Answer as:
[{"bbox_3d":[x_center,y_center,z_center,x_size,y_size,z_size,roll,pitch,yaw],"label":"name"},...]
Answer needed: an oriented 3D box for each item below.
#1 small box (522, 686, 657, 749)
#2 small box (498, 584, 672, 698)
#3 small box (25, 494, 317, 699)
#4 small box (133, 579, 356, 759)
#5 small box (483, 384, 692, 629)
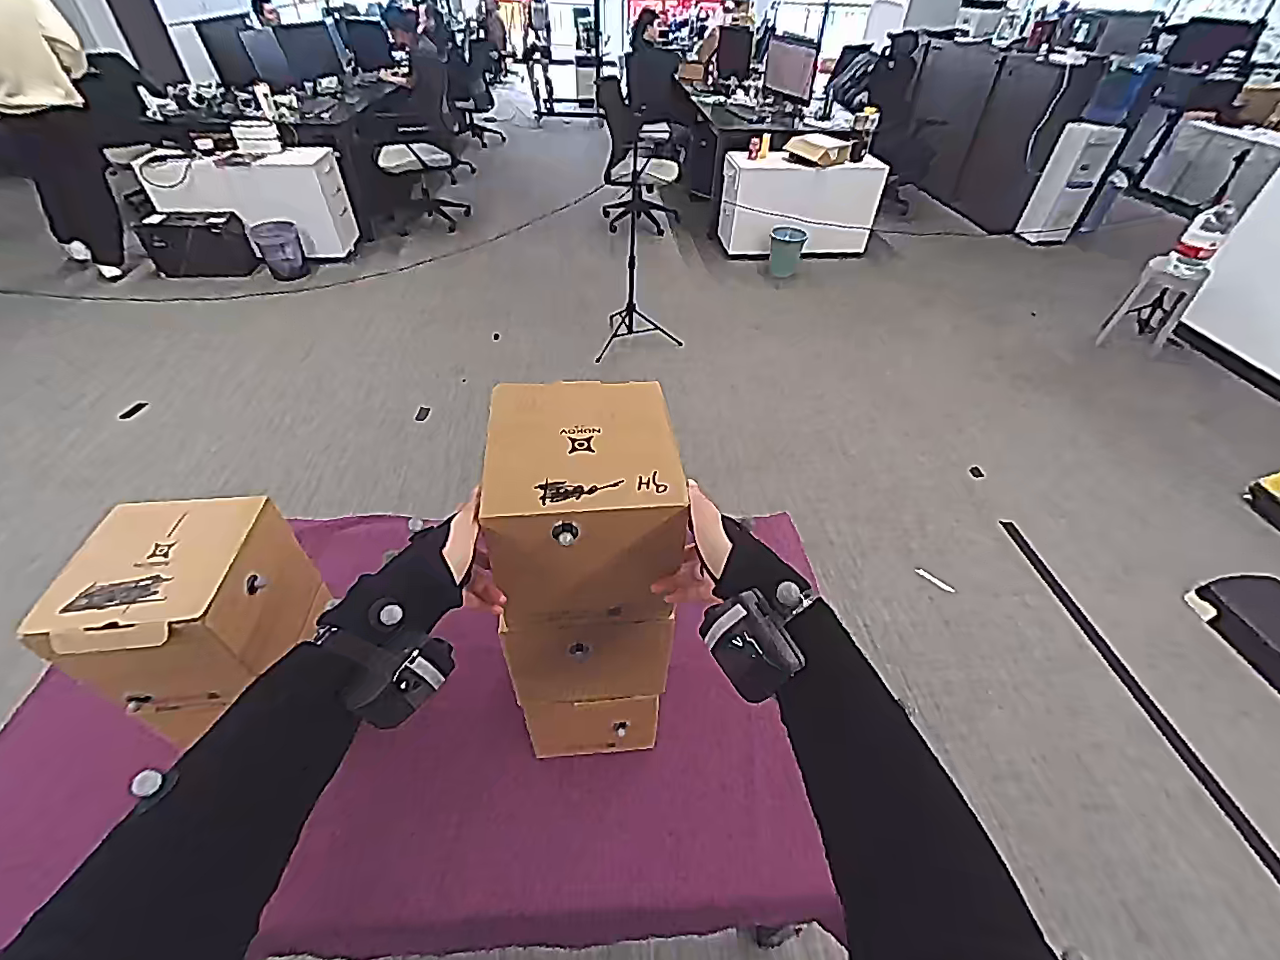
[{"bbox_3d":[-0.066,0.261,0.759,0.168,0.176,0.179,-1,43,-5],"label":"small box"},{"bbox_3d":[-0.062,0.145,0.643,0.179,0.176,0.168,-2,45,-5],"label":"small box"},{"bbox_3d":[-0.511,0.139,0.631,0.168,0.176,0.179,-3,44,-6],"label":"small box"},{"bbox_3d":[-0.515,0.258,0.744,0.168,0.176,0.179,-2,45,-5],"label":"small box"},{"bbox_3d":[-0.051,0.023,0.533,0.168,0.176,0.179,-3,44,-6],"label":"small box"}]
